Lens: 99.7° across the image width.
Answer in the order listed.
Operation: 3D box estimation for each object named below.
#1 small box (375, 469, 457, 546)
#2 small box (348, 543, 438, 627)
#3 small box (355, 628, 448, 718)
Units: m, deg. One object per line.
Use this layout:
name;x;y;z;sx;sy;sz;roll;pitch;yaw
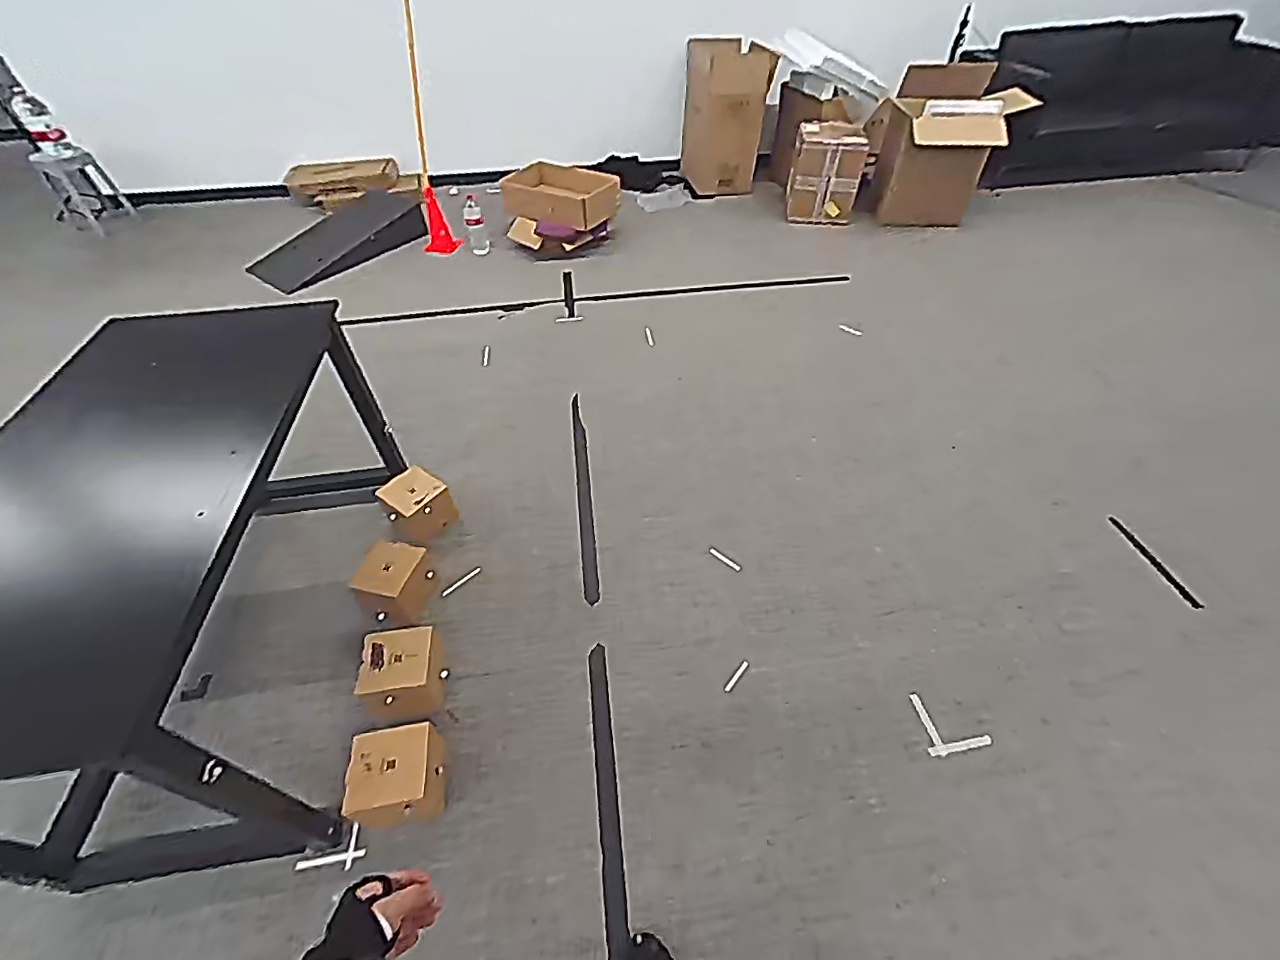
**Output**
small box;-0.763;0.097;1.857;0.179;0.176;0.168;27;53;24
small box;-0.742;0.321;1.653;0.168;0.176;0.179;8;49;10
small box;-0.635;0.525;1.459;0.179;0.176;0.168;-6;48;-7
